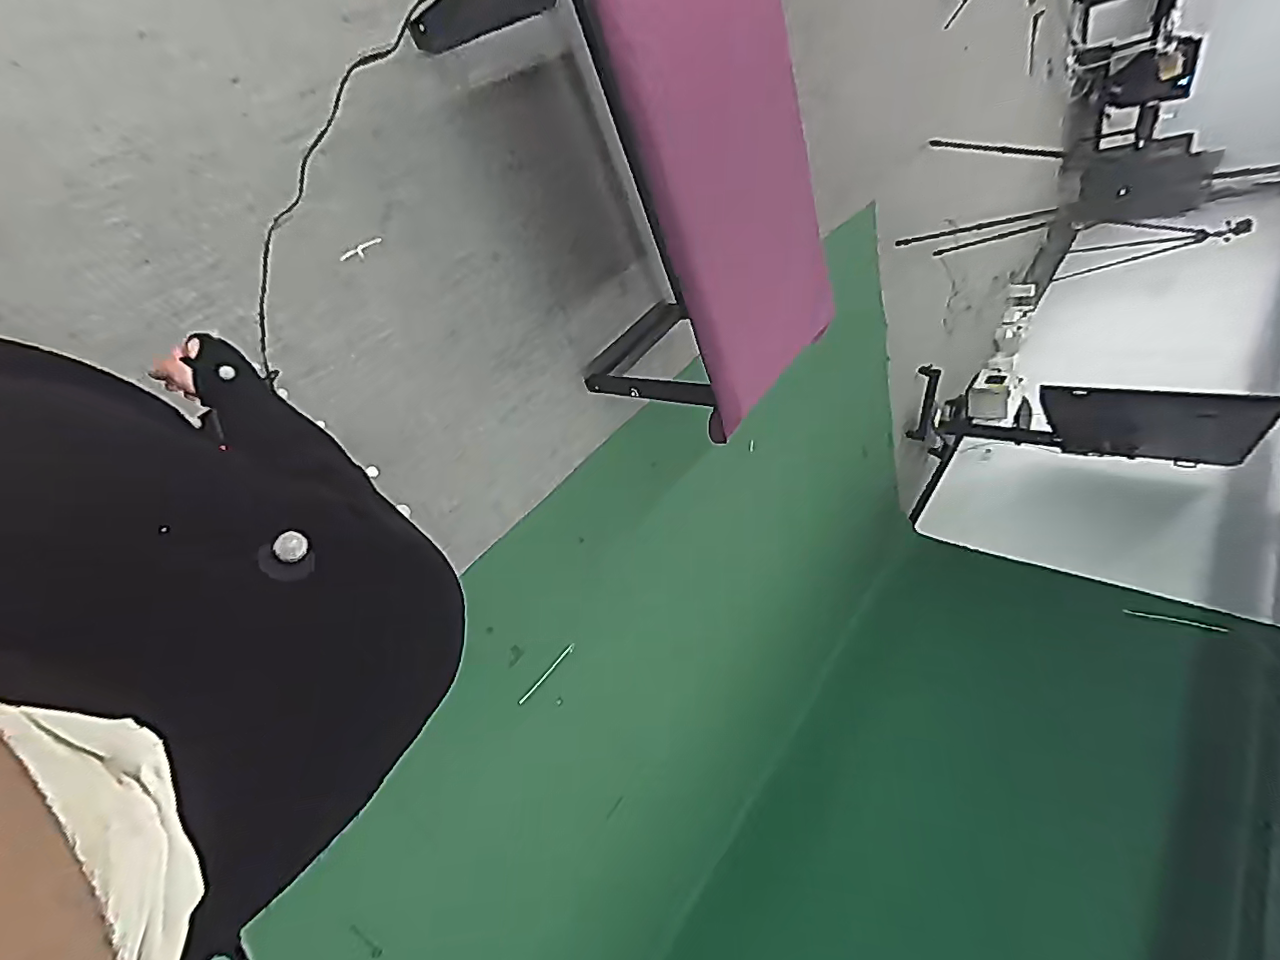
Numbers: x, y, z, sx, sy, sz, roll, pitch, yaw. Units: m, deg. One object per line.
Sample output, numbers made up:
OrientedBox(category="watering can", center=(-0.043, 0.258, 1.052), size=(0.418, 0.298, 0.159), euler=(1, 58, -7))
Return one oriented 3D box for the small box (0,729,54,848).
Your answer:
OrientedBox(category="small box", center=(-1.341, 0.643, 1.083), size=(0.179, 0.176, 0.168), euler=(-44, 130, -27))
